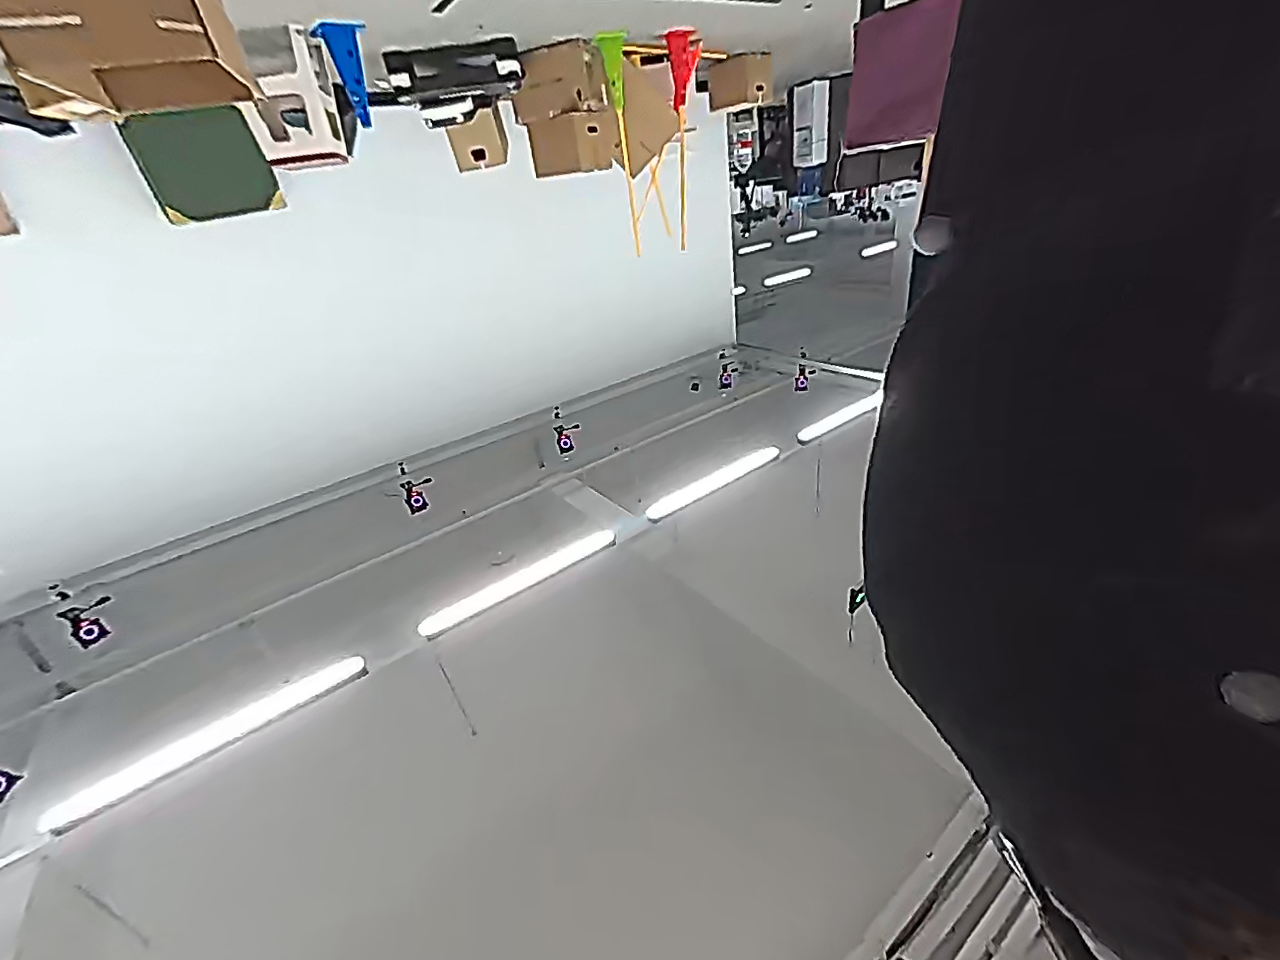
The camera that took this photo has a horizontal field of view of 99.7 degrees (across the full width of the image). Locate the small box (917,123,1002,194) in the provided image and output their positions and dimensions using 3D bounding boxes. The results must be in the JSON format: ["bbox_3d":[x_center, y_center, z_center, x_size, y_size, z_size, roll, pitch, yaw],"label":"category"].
[{"bbox_3d":[1.008,-1.016,1.711,0.179,0.176,0.168,-27,-145,-29],"label":"small box"}]
